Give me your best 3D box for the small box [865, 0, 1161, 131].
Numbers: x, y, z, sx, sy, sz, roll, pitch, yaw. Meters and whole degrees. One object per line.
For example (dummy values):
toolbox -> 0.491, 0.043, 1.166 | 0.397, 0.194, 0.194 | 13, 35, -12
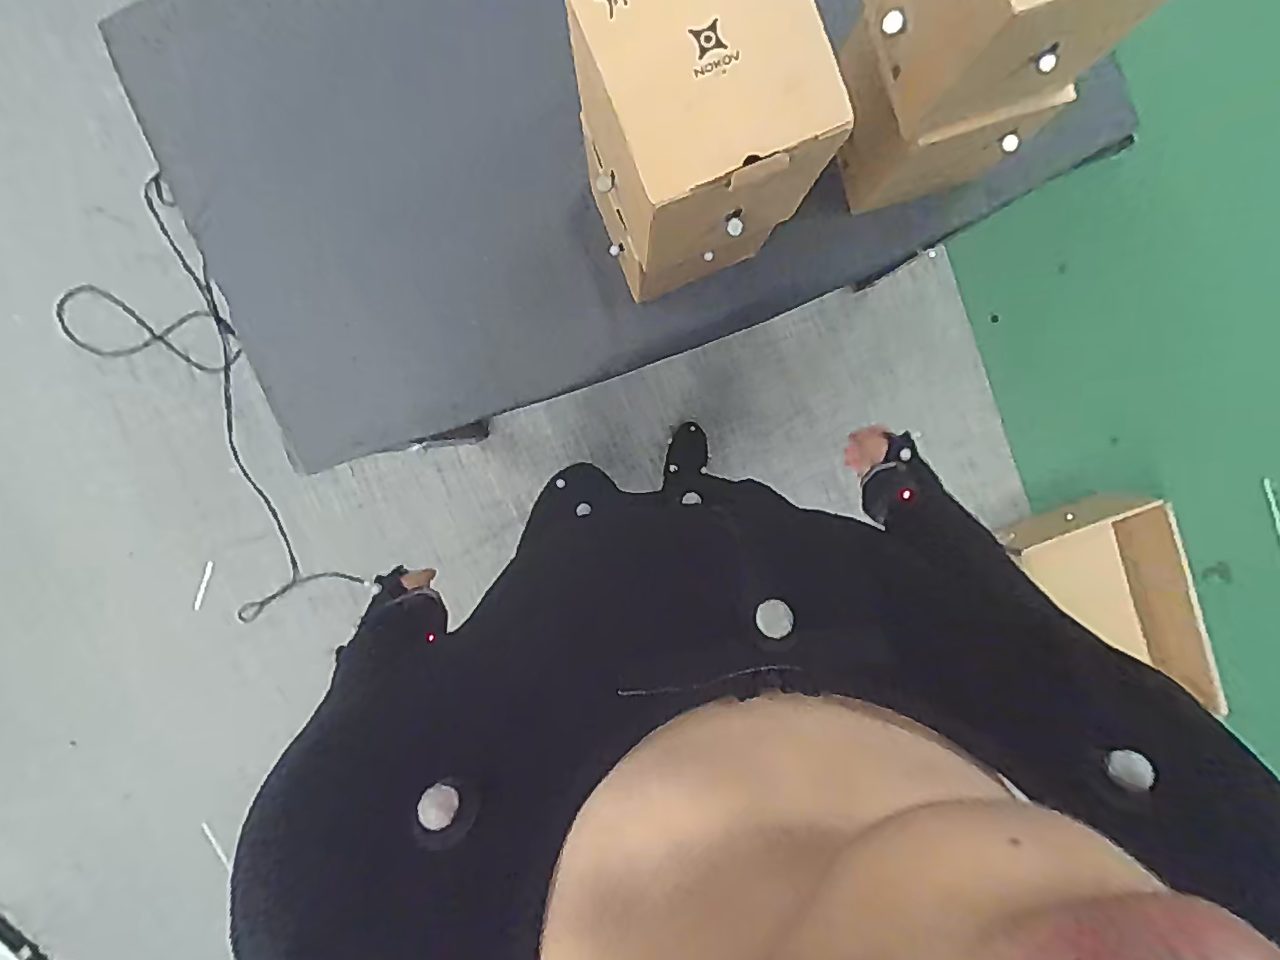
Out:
small box -> 0.323, -0.444, 0.459 | 0.179, 0.176, 0.168 | -18, 94, 2

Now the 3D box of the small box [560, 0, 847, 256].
small box -> 0.046, -0.316, 0.467 | 0.168, 0.176, 0.179 | -22, 95, 1

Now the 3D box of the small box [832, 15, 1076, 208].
small box -> 0.338, -0.449, 0.624 | 0.179, 0.176, 0.168 | -17, 93, 1

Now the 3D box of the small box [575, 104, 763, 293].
small box -> 0.041, -0.340, 0.630 | 0.179, 0.176, 0.168 | -22, 95, 0
